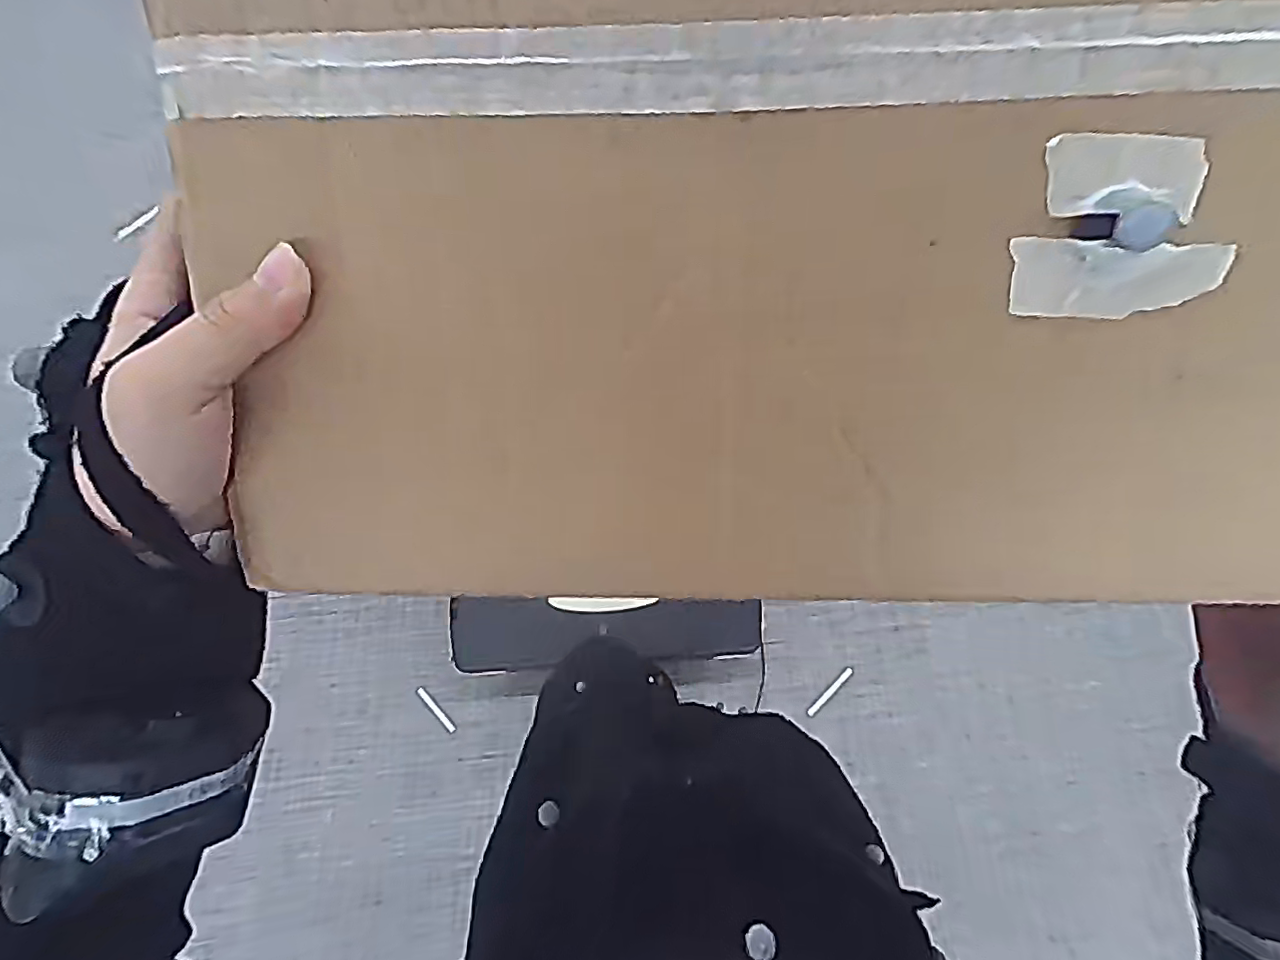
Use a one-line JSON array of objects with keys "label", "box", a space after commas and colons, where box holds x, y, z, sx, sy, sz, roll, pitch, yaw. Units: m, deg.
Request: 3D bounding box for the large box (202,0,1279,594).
[{"label": "large box", "box": [0.069, -0.141, 0.307, 0.408, 0.320, 0.320, -1, 101, 1]}]
